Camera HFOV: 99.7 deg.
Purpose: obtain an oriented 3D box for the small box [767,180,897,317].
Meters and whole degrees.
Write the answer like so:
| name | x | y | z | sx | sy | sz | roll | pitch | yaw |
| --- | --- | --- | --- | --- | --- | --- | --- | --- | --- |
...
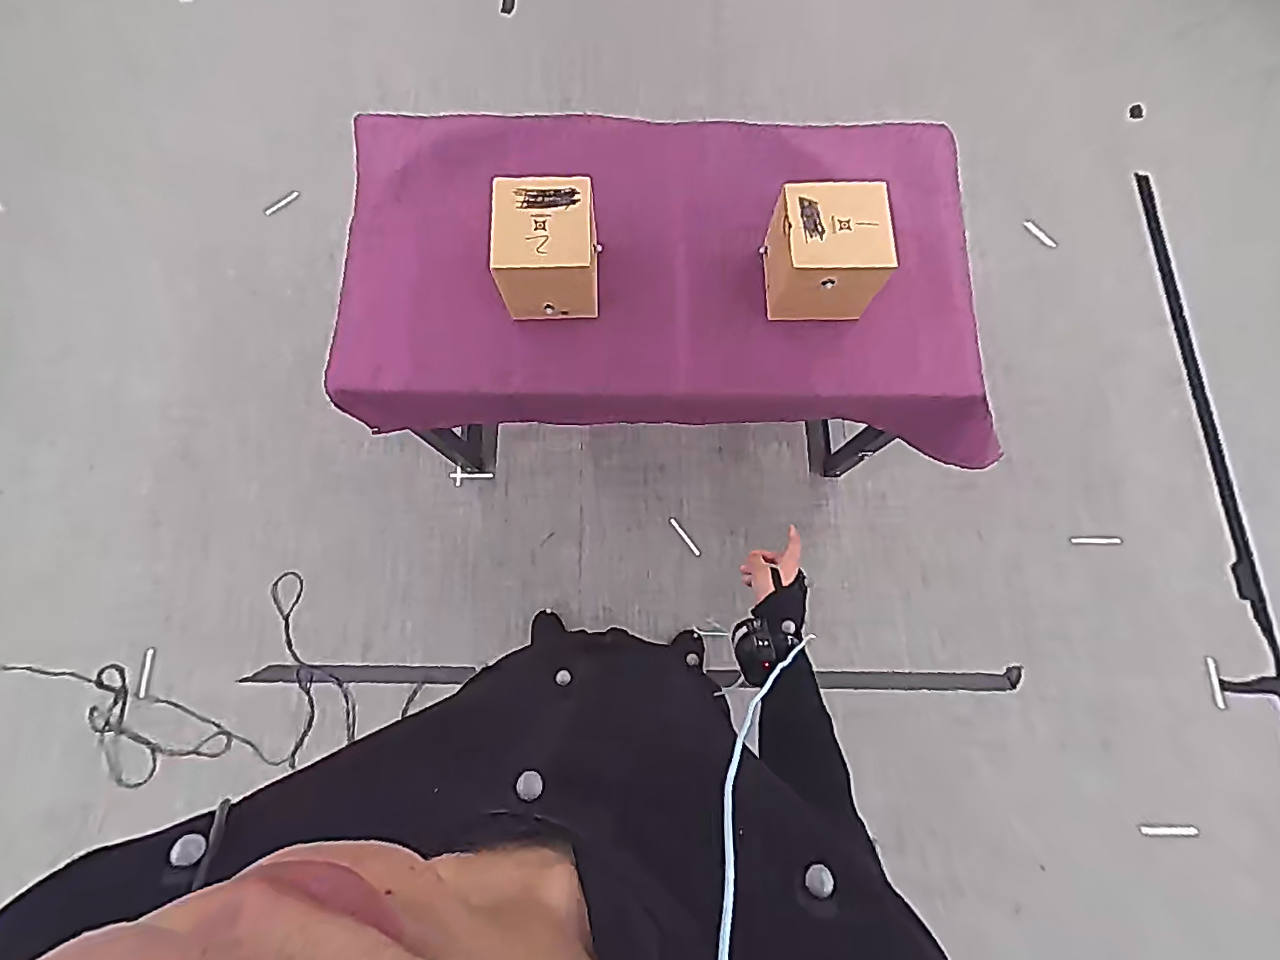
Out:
| name | x | y | z | sx | sy | sz | roll | pitch | yaw |
| --- | --- | --- | --- | --- | --- | --- | --- | --- | --- |
| small box | 0.331 | -0.407 | 0.972 | 0.179 | 0.176 | 0.168 | 0 | 77 | 0 |
